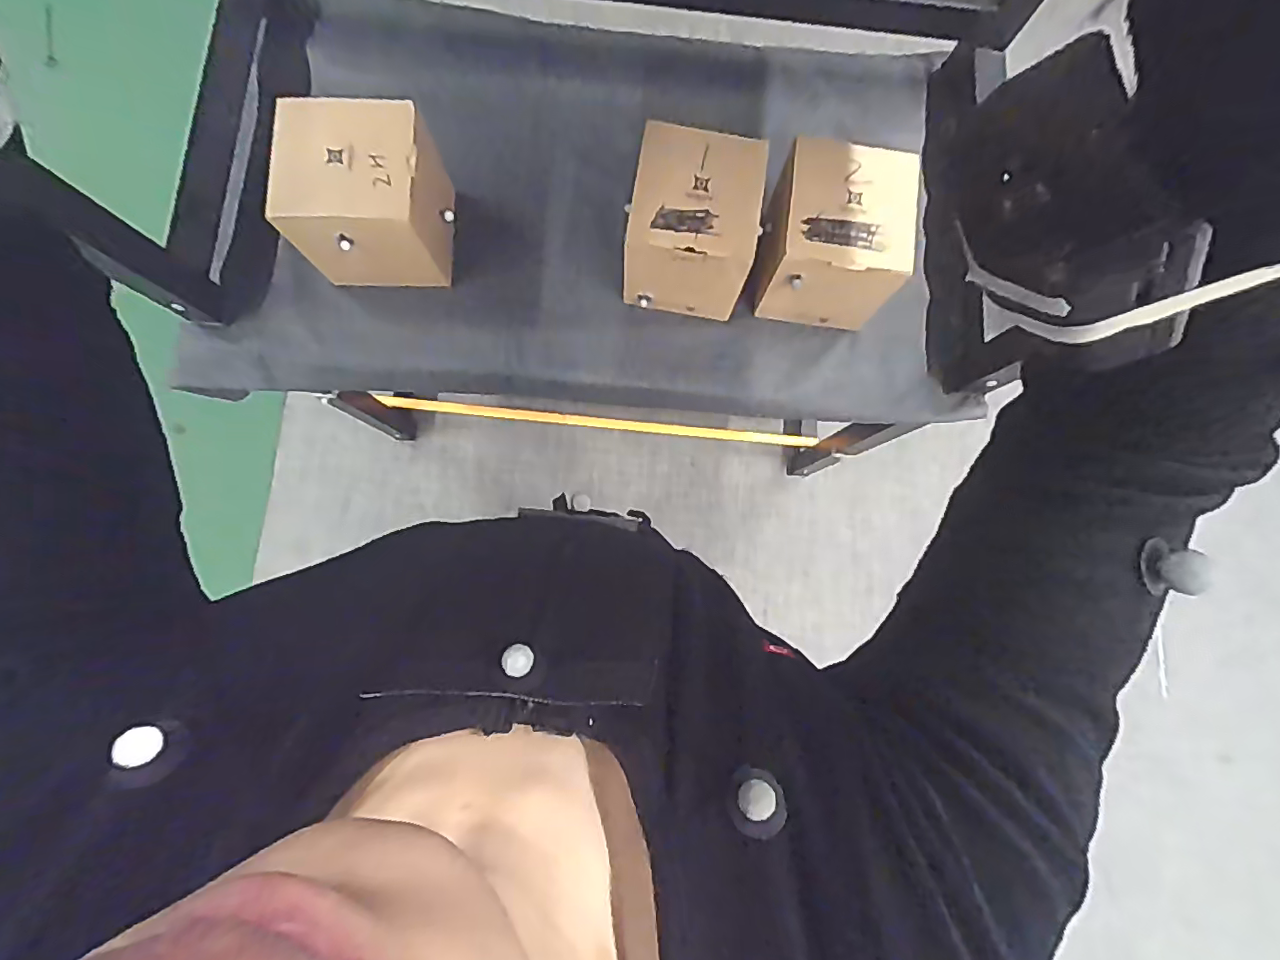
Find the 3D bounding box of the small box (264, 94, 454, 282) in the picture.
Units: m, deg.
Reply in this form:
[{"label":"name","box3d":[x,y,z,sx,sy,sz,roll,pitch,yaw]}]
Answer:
[{"label":"small box","box3d":[-0.374,-0.392,0.751,0.179,0.176,0.168,1,82,-3]}]
